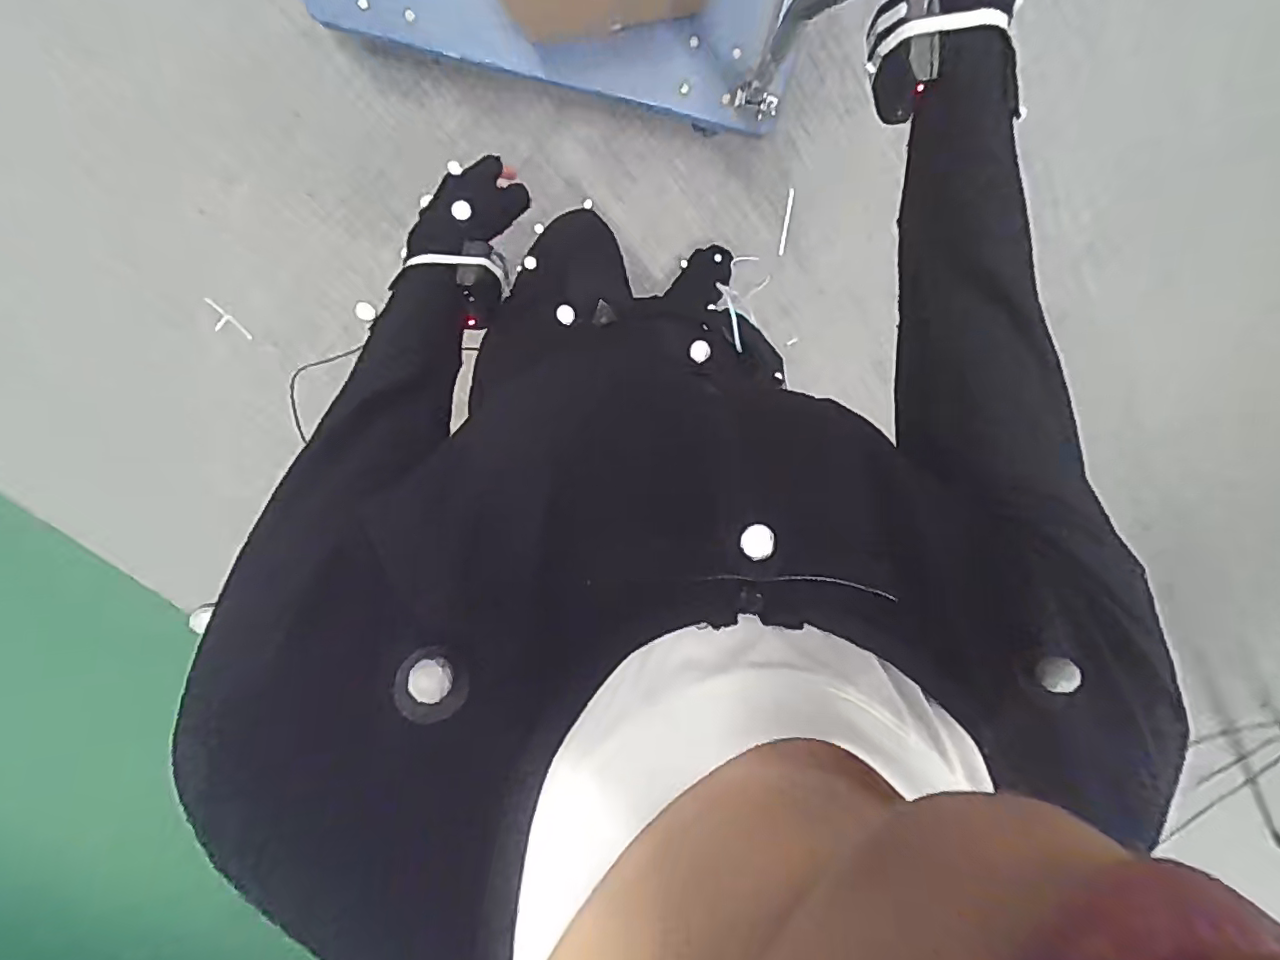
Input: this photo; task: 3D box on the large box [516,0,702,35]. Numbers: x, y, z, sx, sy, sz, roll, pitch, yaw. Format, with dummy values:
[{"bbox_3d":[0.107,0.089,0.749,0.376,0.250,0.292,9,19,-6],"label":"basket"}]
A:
[{"bbox_3d":[-0.067,-0.913,0.730,0.320,0.320,0.408,-8,118,5],"label":"large box"}]
